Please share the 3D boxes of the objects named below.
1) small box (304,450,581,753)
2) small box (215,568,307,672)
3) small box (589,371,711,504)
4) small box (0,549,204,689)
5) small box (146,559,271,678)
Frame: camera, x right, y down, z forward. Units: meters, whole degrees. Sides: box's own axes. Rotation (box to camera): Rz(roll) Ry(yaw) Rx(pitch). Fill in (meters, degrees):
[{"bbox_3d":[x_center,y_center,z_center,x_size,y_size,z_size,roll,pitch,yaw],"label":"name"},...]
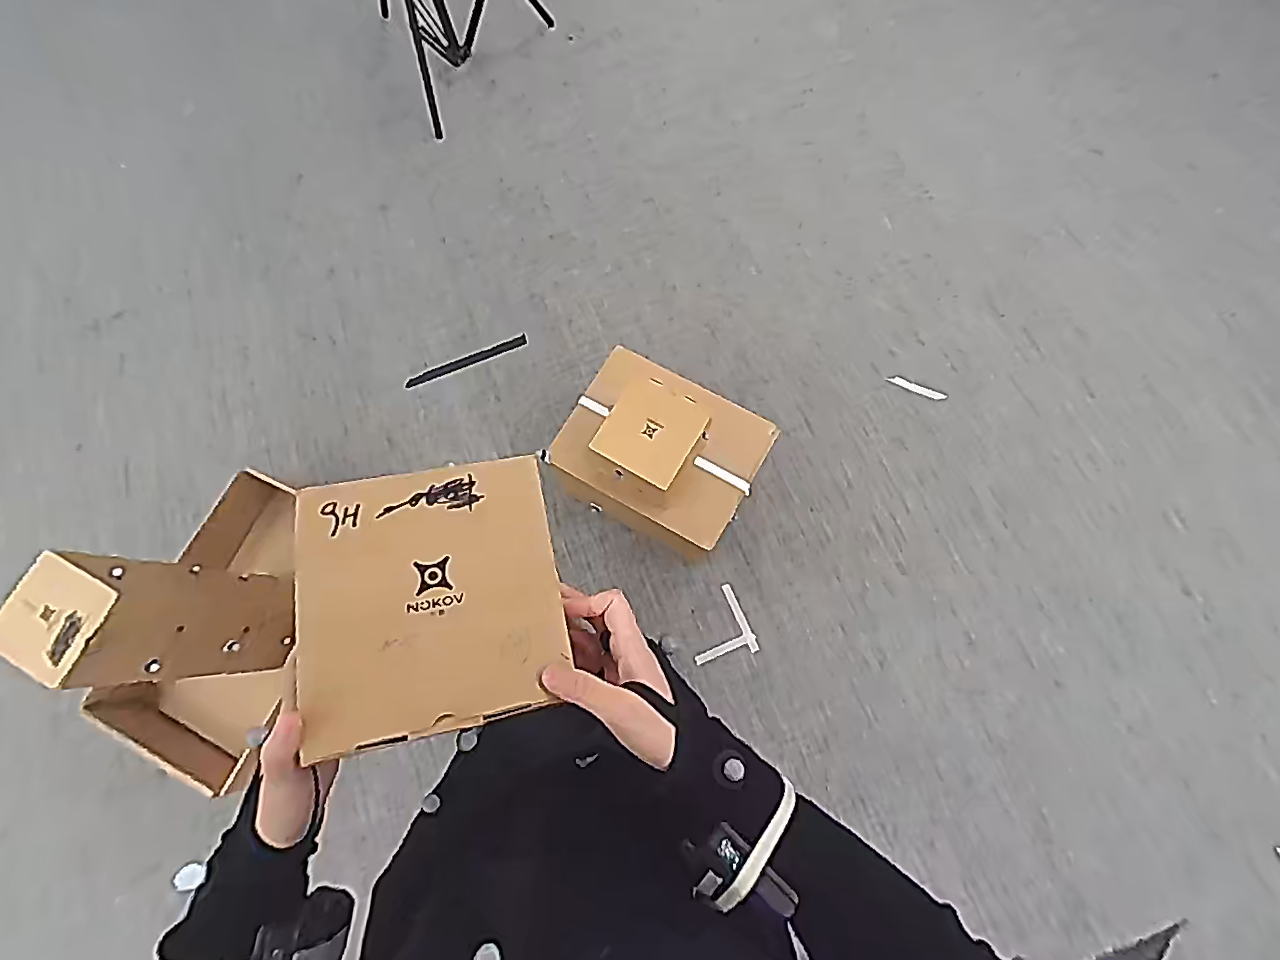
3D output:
[{"bbox_3d":[-0.146,0.097,0.434,0.168,0.176,0.179,-9,70,-14],"label":"small box"},{"bbox_3d":[-0.909,0.324,1.256,0.179,0.176,0.168,27,78,9],"label":"small box"},{"bbox_3d":[0.023,-0.073,1.054,0.168,0.176,0.179,29,78,9],"label":"small box"},{"bbox_3d":[-0.930,0.238,0.942,0.179,0.176,0.168,25,78,10],"label":"small box"},{"bbox_3d":[-0.917,0.281,1.101,0.179,0.176,0.168,26,79,8],"label":"small box"}]
